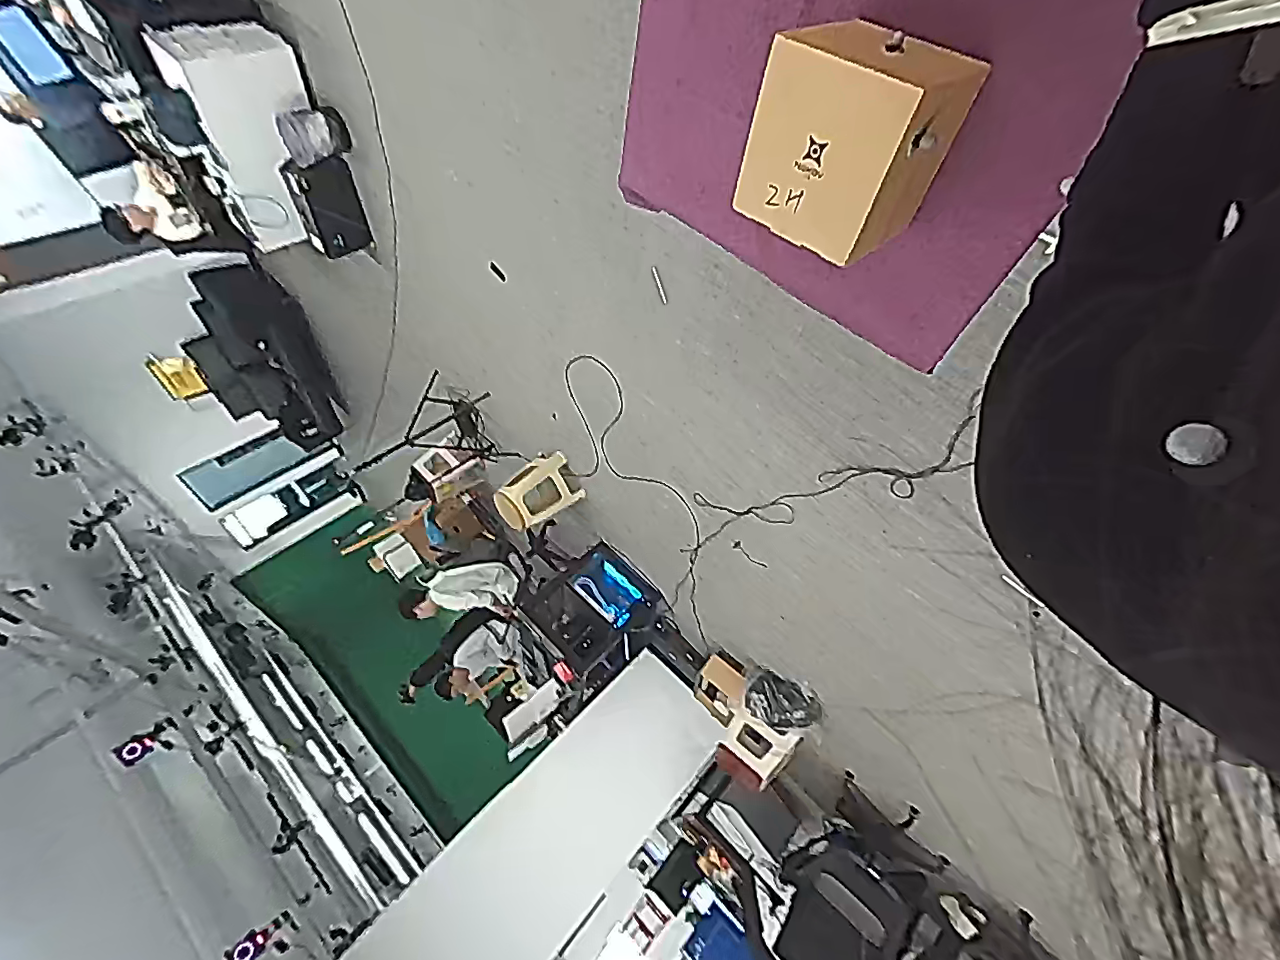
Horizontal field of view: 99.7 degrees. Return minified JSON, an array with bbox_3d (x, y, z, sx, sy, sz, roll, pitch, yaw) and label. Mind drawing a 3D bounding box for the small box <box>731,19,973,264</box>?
[{"bbox_3d":[0.234,-0.383,0.606,0.168,0.176,0.179,41,148,21],"label":"small box"}]
